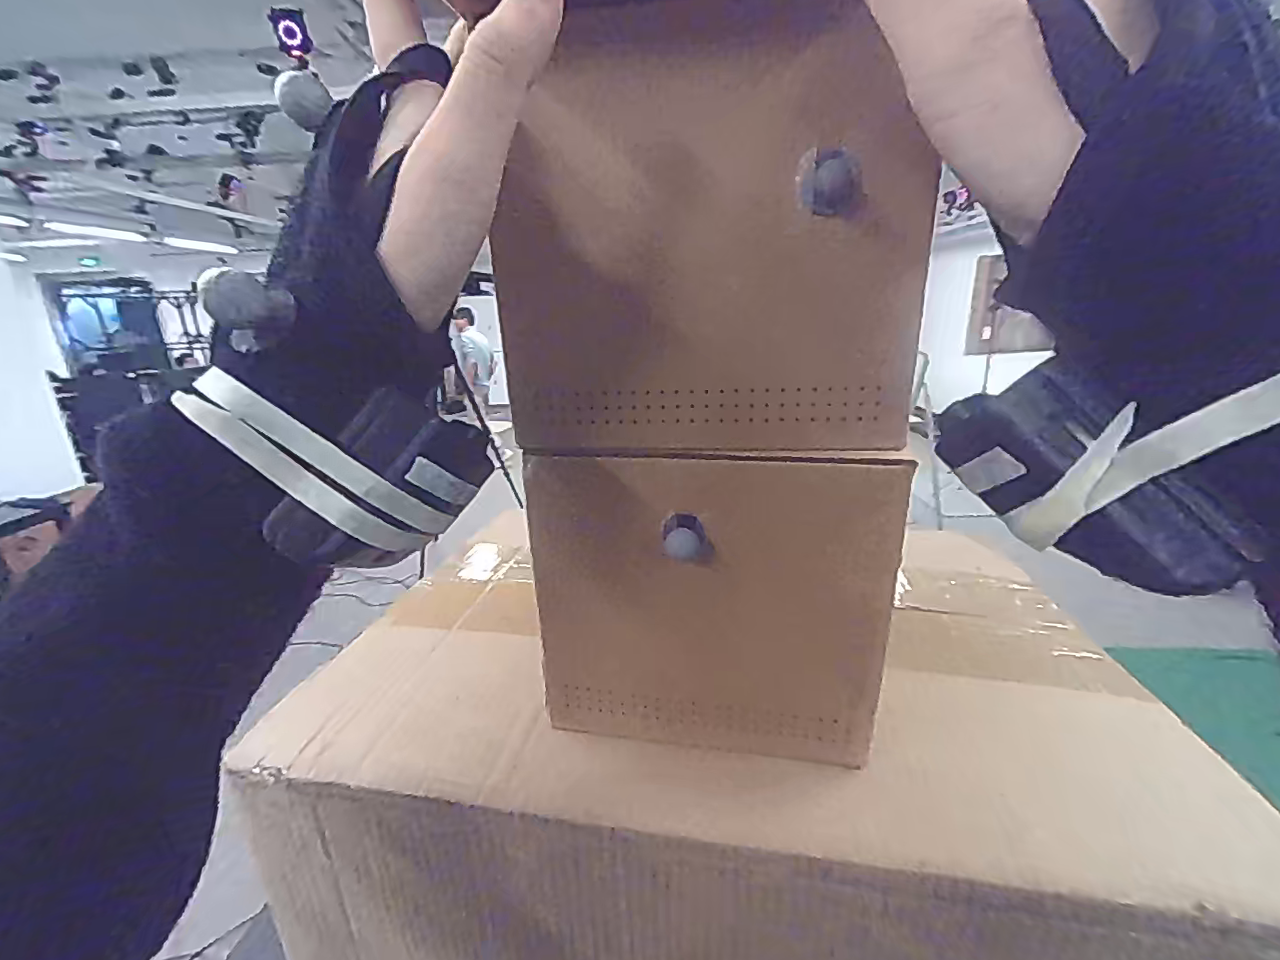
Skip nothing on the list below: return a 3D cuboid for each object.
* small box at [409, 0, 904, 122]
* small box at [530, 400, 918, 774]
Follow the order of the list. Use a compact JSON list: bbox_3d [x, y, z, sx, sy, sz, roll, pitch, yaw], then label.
[{"bbox_3d":[0.018,-0.251,0.196,0.179,0.176,0.168,2,17,10],"label":"small box"},{"bbox_3d":[0.050,0.051,0.340,0.179,0.176,0.168,2,20,12],"label":"small box"}]
